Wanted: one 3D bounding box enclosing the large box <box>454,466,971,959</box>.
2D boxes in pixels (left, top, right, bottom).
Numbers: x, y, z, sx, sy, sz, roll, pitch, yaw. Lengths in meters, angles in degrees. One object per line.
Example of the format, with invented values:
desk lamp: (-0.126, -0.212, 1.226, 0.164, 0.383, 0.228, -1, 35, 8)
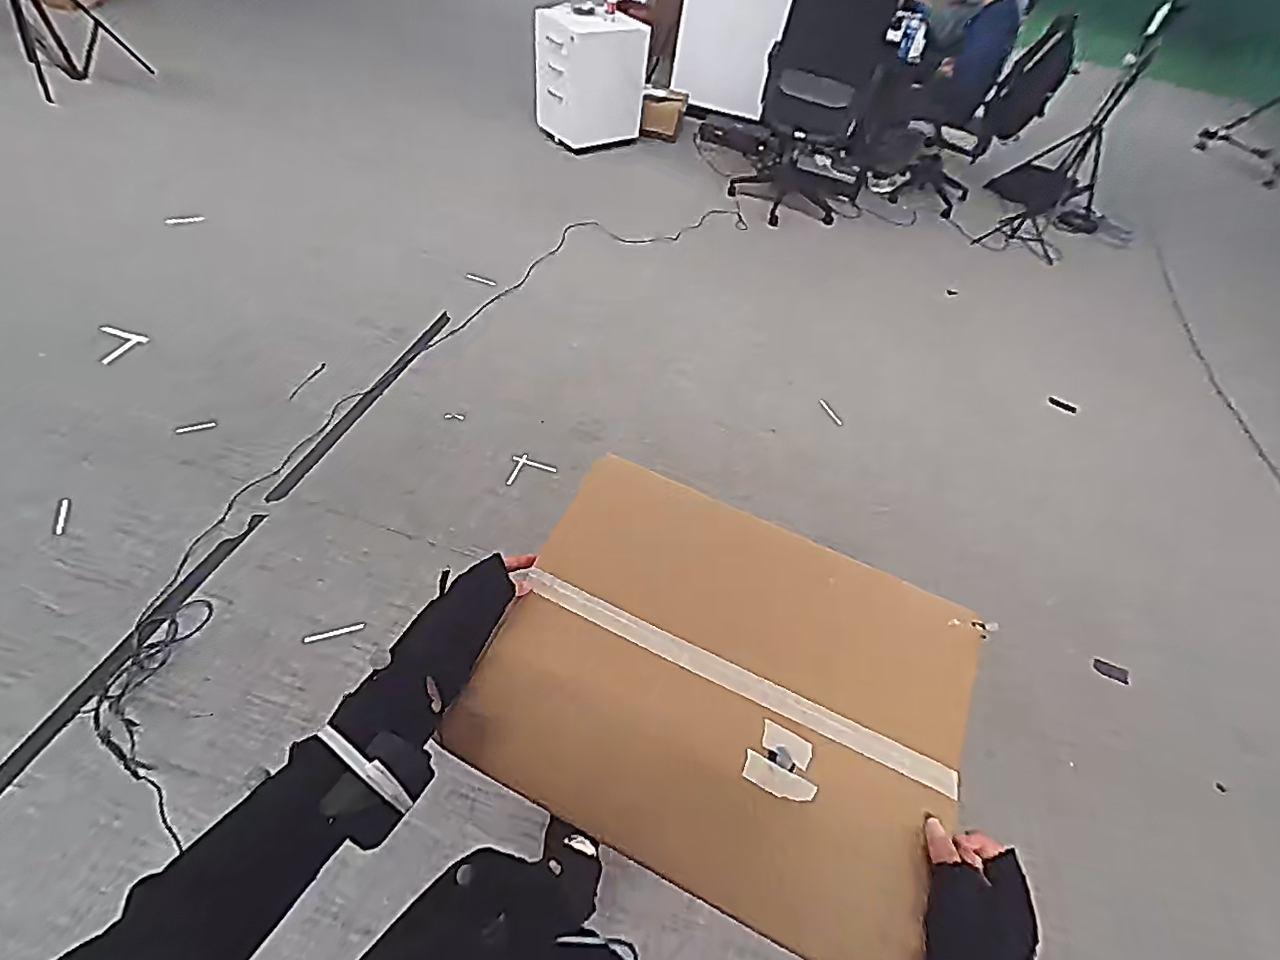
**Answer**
large box: (0.073, 0.249, 0.623, 0.408, 0.320, 0.320, 24, 64, 10)
